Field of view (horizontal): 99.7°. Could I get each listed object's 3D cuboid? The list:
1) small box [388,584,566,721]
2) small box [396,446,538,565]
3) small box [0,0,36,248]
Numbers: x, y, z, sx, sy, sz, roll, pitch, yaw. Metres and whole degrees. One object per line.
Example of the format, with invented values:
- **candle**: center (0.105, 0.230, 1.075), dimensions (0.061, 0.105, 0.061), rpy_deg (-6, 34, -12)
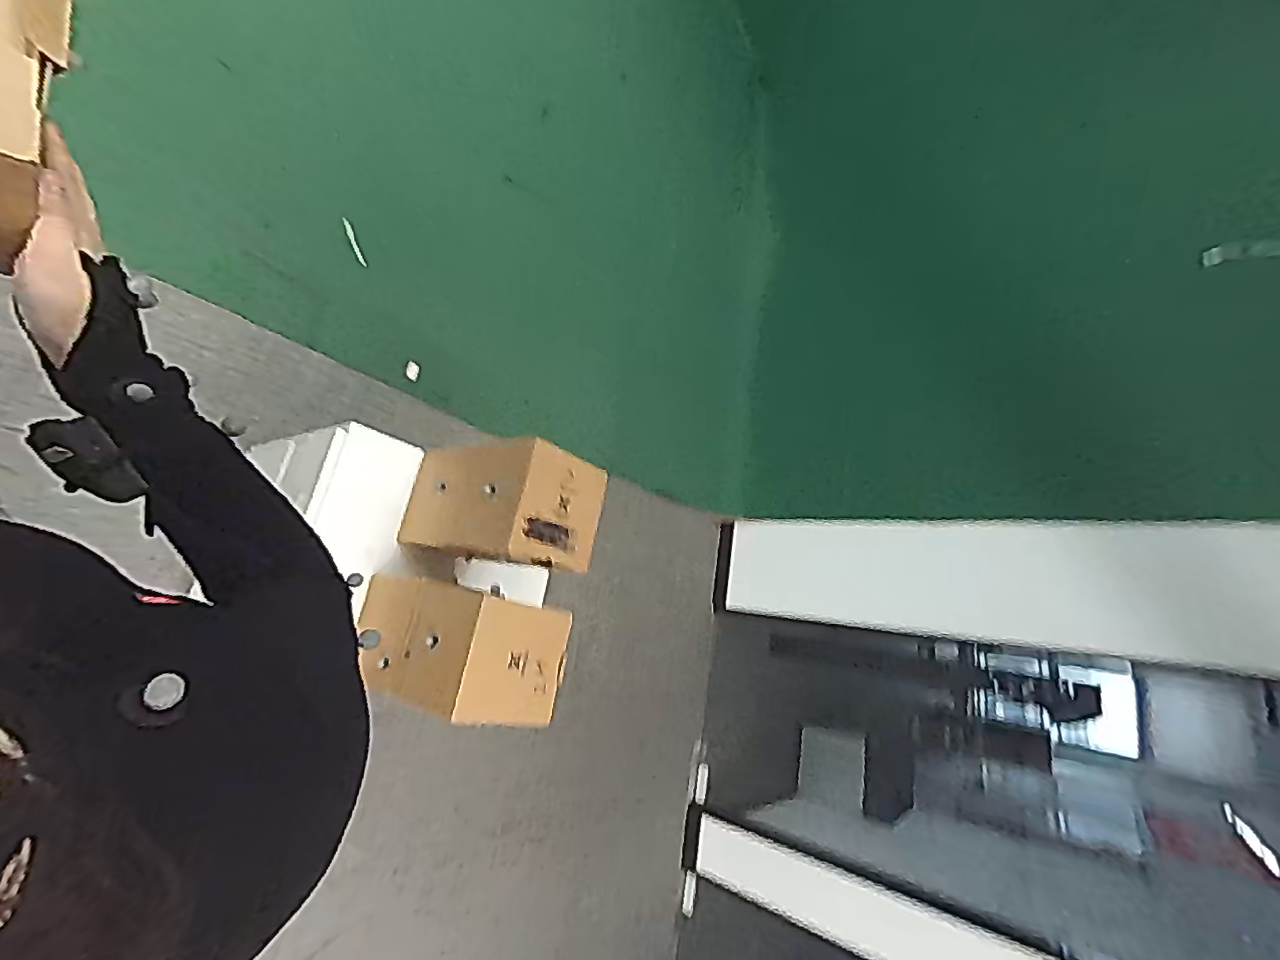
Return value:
- **small box**: center (-0.247, 0.258, 0.821), dimensions (0.179, 0.176, 0.168), rpy_deg (30, 66, -47)
- **small box**: center (-0.321, 0.049, 1.001), dimensions (0.168, 0.176, 0.179), rpy_deg (28, 69, -47)
- **small box**: center (-0.428, -0.232, 0.262), dimensions (0.179, 0.176, 0.168), rpy_deg (2, 82, -49)
